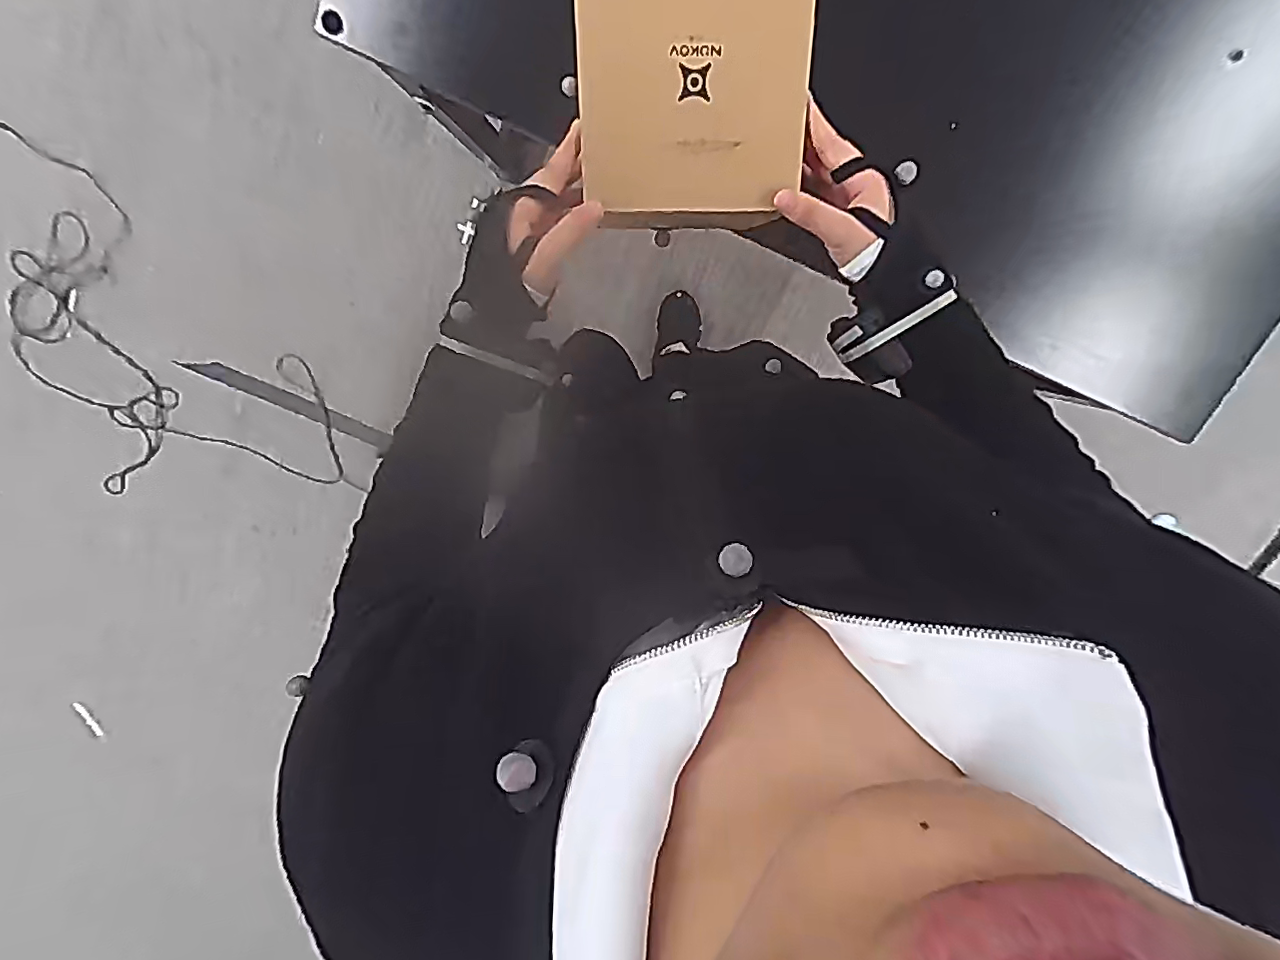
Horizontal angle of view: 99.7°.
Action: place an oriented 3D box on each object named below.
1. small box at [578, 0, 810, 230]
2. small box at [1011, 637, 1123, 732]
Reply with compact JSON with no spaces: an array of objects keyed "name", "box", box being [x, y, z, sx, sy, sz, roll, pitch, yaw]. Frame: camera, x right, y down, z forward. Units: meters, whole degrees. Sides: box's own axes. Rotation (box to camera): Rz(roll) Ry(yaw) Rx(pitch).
[{"name":"small box","box":[0.035,-0.319,0.464,0.168,0.176,0.179,-2,111,-1]},{"name":"small box","box":[1.271,0.611,1.629,0.168,0.176,0.179,24,106,-7]}]
